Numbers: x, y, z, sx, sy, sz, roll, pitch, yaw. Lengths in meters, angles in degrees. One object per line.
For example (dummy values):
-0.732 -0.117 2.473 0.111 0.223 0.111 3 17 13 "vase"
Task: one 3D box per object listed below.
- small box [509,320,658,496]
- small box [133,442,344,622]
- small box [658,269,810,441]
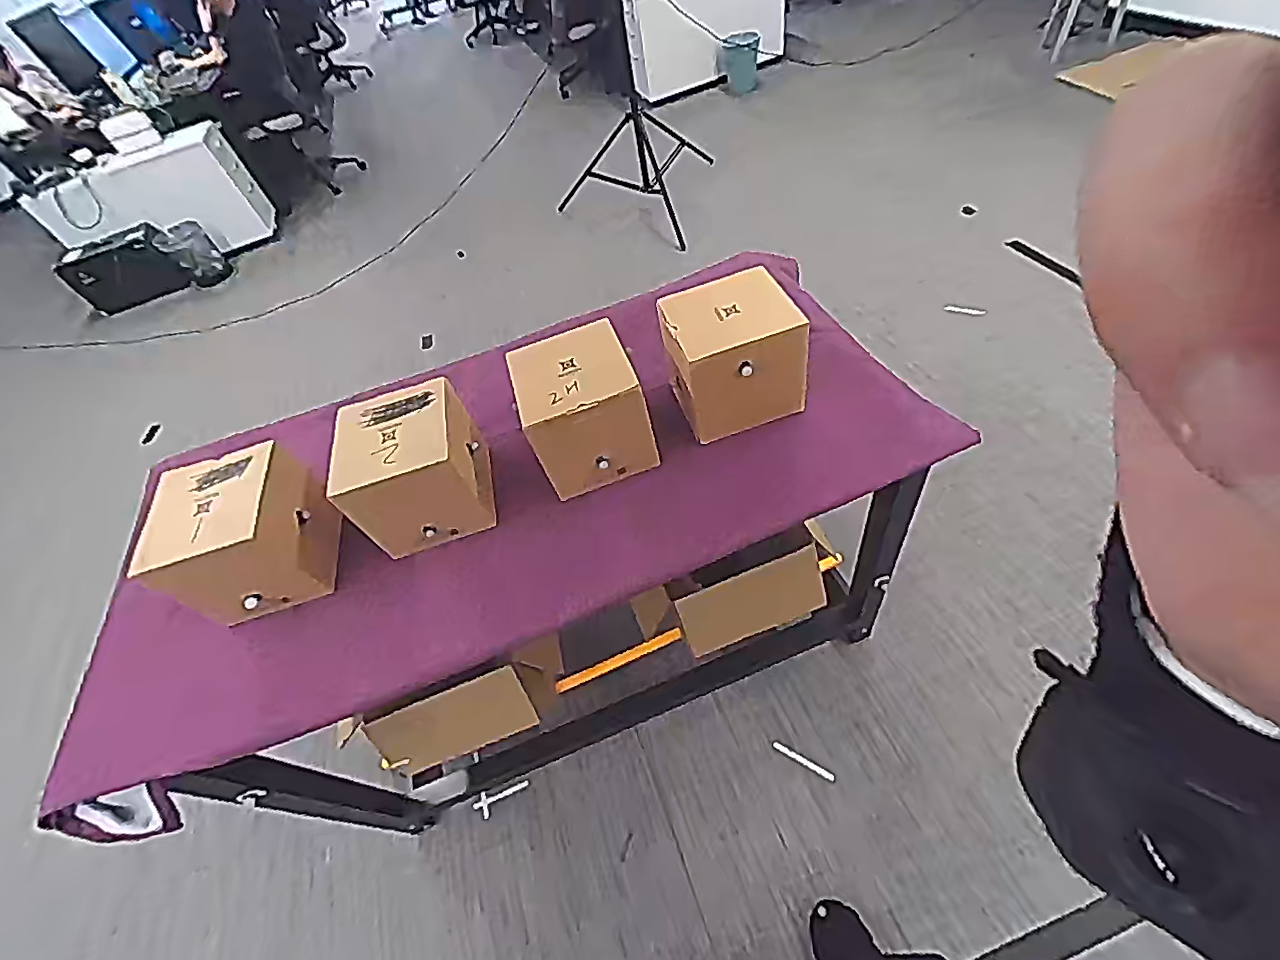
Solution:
-0.084 -0.107 0.824 0.168 0.176 0.179 -20 51 -2 "small box"
-0.561 0.079 0.787 0.168 0.176 0.179 -18 53 -1 "small box"
0.142 -0.189 0.838 0.179 0.176 0.168 -19 50 -1 "small box"
